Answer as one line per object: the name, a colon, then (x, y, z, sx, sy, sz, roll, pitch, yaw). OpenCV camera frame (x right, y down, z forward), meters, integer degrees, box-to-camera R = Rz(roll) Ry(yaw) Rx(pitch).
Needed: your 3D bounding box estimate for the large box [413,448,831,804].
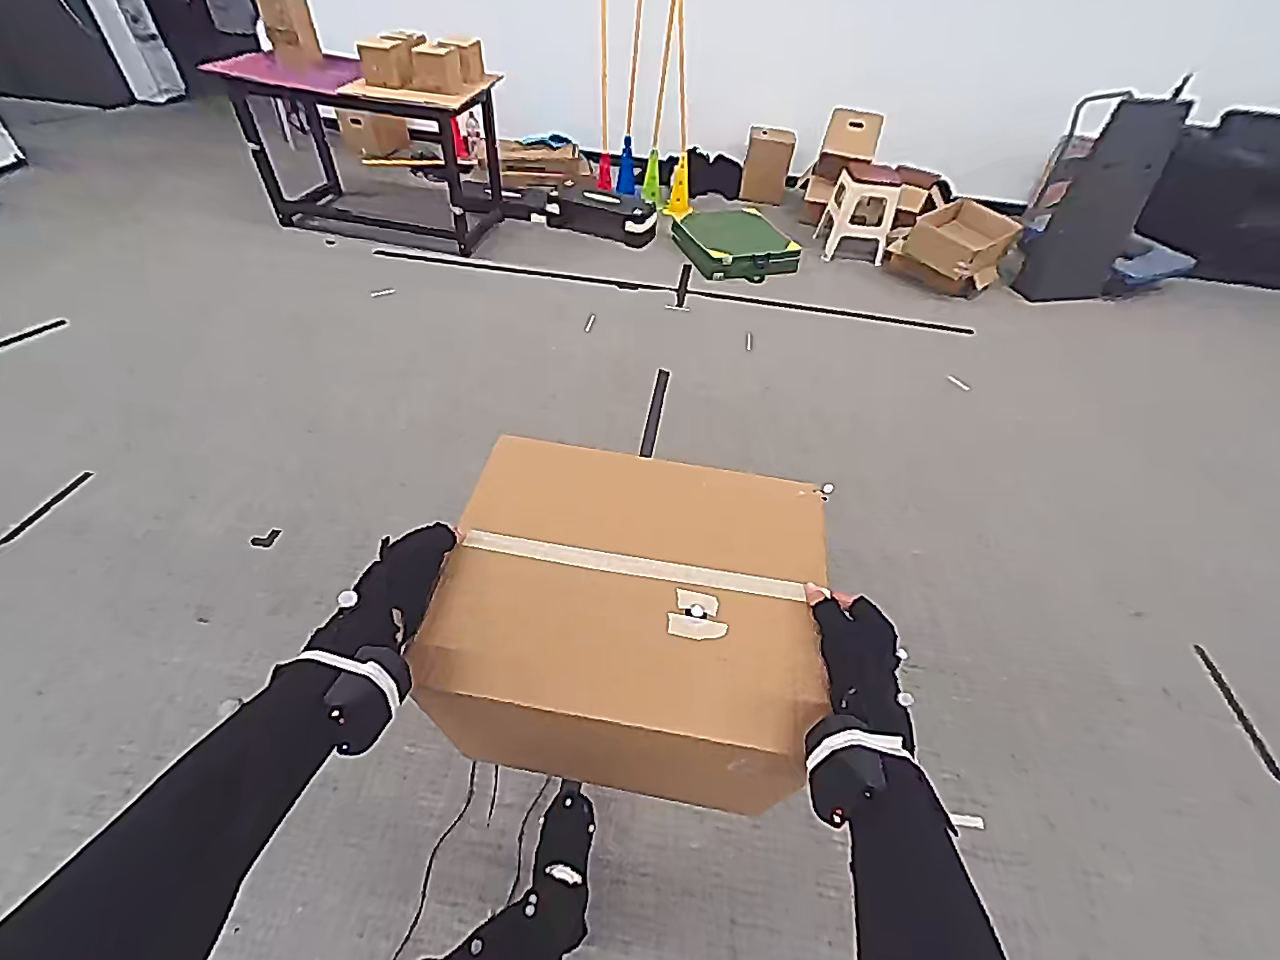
large box: (-0.010, 0.195, 0.708, 0.408, 0.320, 0.320, 9, 51, 3)
